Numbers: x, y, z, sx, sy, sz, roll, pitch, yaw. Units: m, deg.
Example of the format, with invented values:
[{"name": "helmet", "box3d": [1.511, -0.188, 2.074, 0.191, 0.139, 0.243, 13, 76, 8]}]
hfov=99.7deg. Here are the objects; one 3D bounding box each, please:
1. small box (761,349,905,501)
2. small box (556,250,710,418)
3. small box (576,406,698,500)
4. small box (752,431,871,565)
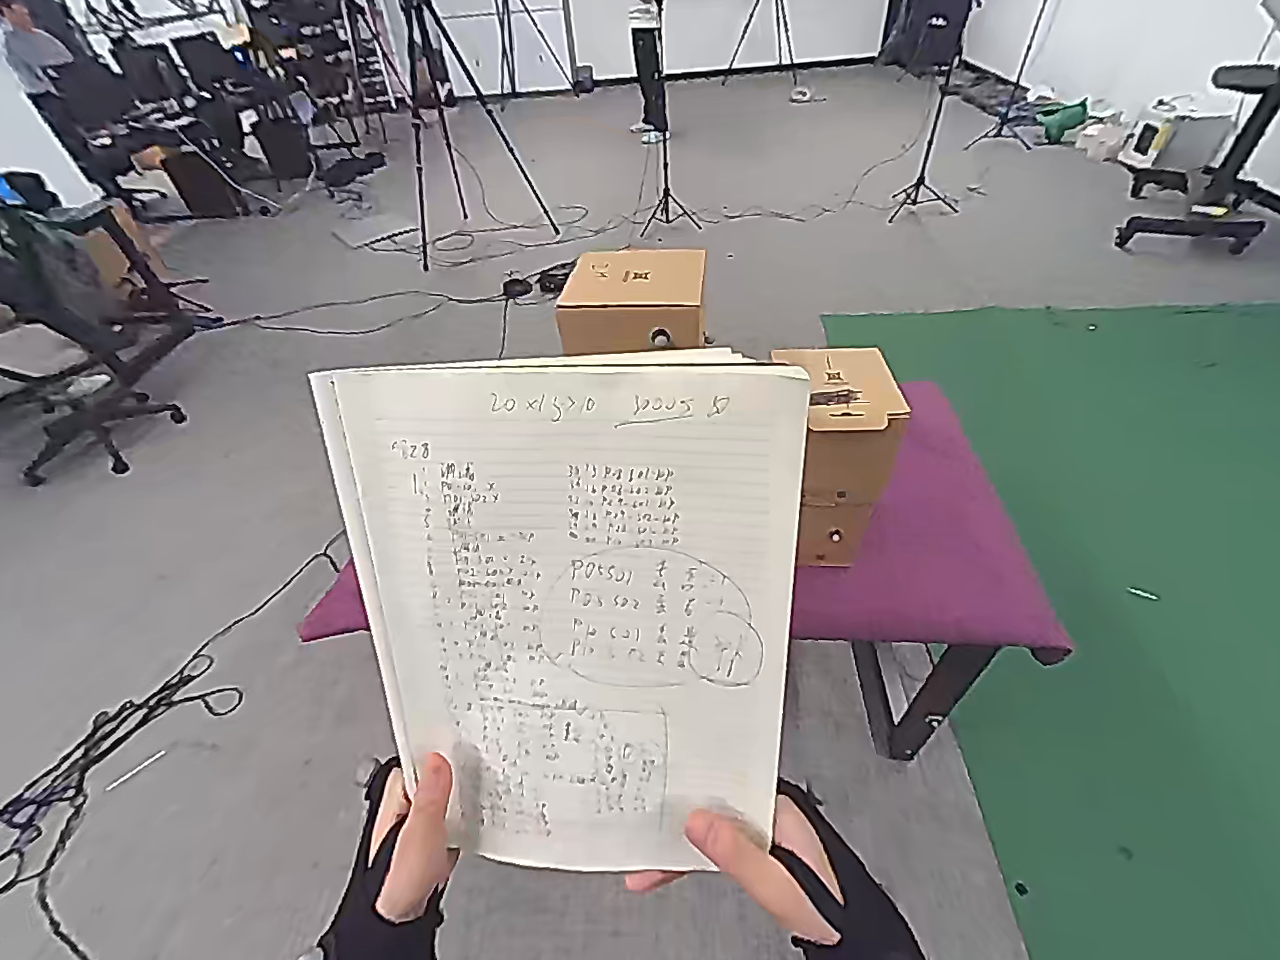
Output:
[{"name": "small box", "box3d": [0.281, -0.083, 0.831, 0.168, 0.176, 0.179, 1, 43, 5]}, {"name": "small box", "box3d": [0.002, -0.197, 0.739, 0.179, 0.176, 0.168, 2, 43, 9]}, {"name": "small box", "box3d": [0.006, -0.083, 0.859, 0.168, 0.176, 0.179, 1, 44, 7]}, {"name": "small box", "box3d": [0.288, 0.032, 0.948, 0.168, 0.176, 0.179, 2, 44, 6]}]
